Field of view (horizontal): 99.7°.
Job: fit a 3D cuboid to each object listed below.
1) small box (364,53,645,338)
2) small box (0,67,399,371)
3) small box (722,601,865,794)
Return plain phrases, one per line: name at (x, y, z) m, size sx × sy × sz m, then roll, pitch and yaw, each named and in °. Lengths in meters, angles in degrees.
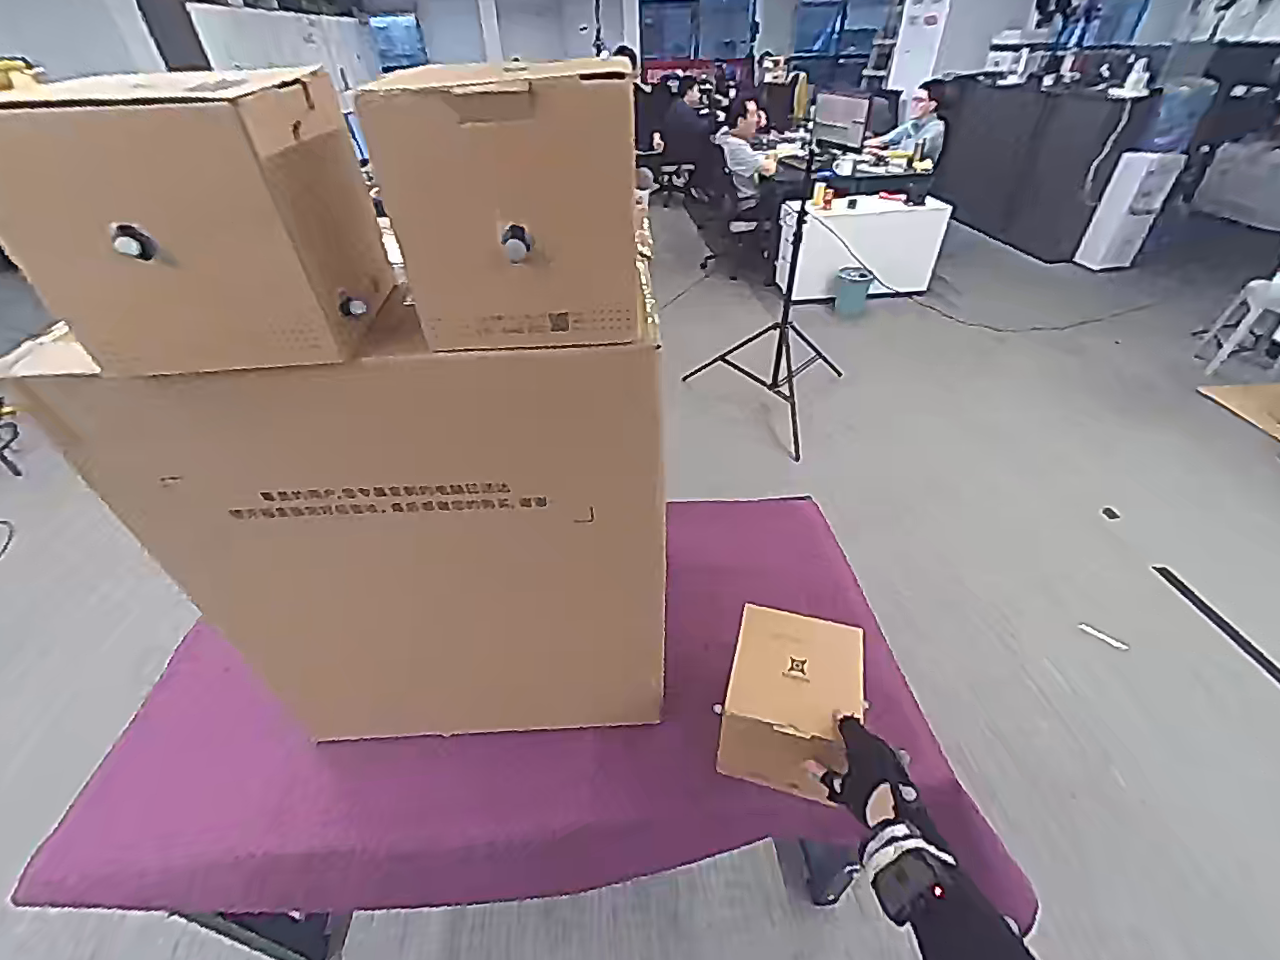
small box at (-0.082, -0.224, 0.432) m, size 0.168 × 0.176 × 0.179 m, roll -2°, pitch 41°, yaw -1°
small box at (-0.310, -0.199, 0.412) m, size 0.179 × 0.176 × 0.168 m, roll -5°, pitch 41°, yaw -2°
small box at (0.212, 0.305, 0.761) m, size 0.168 × 0.176 × 0.179 m, roll 10°, pitch 39°, yaw 13°
